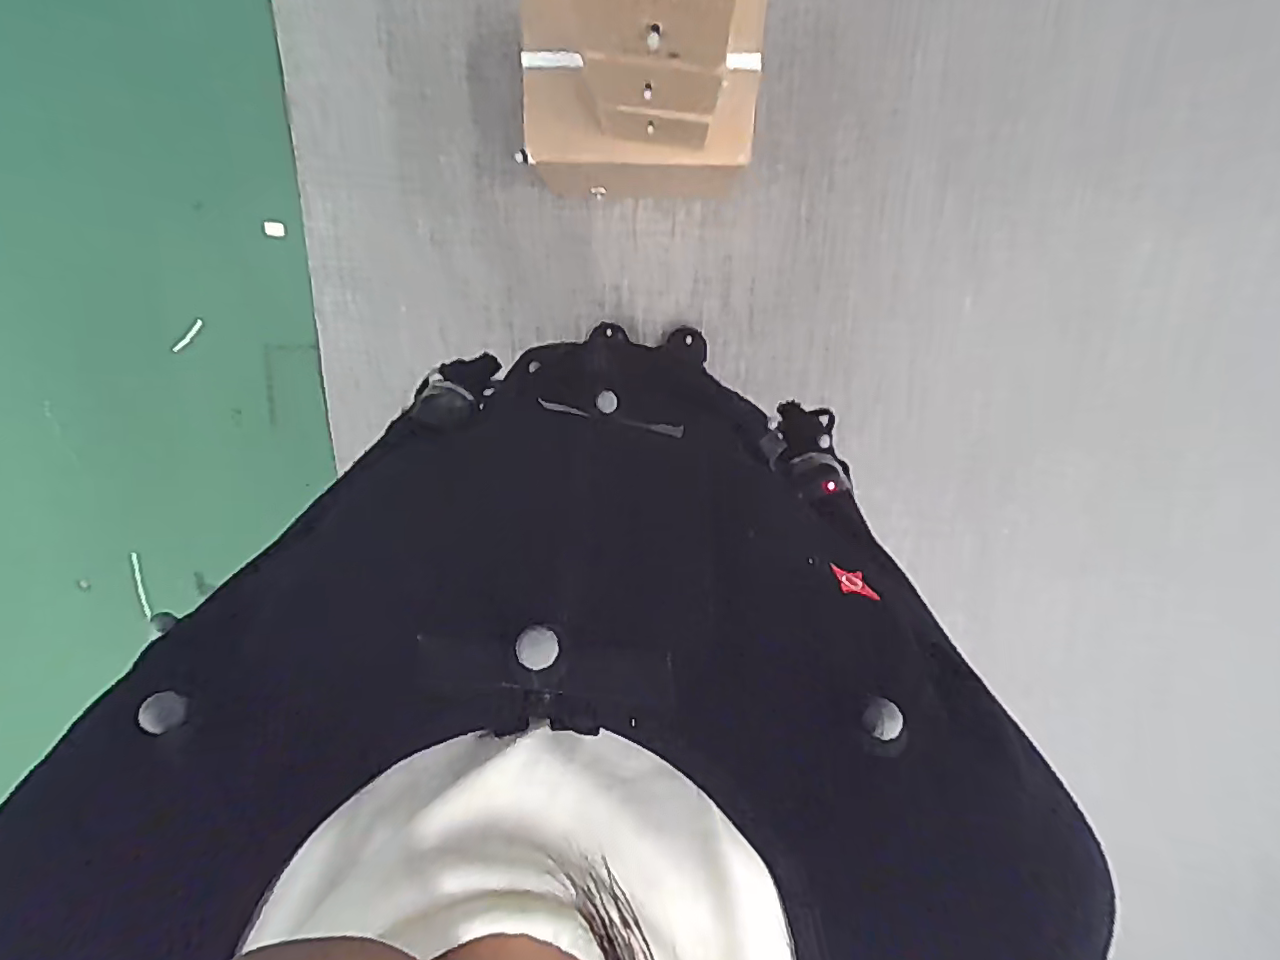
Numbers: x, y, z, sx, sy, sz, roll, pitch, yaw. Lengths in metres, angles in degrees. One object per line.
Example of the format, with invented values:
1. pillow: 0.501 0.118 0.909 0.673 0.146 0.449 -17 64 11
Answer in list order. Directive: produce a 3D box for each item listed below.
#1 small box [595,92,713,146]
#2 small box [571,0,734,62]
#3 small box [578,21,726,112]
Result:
1. small box: 0.032 -0.647 0.852 0.179 0.176 0.168 7 110 -1
2. small box: 0.023 -0.553 0.538 0.168 0.176 0.179 8 110 1
3. small box: 0.027 -0.598 0.696 0.179 0.176 0.168 8 109 2
